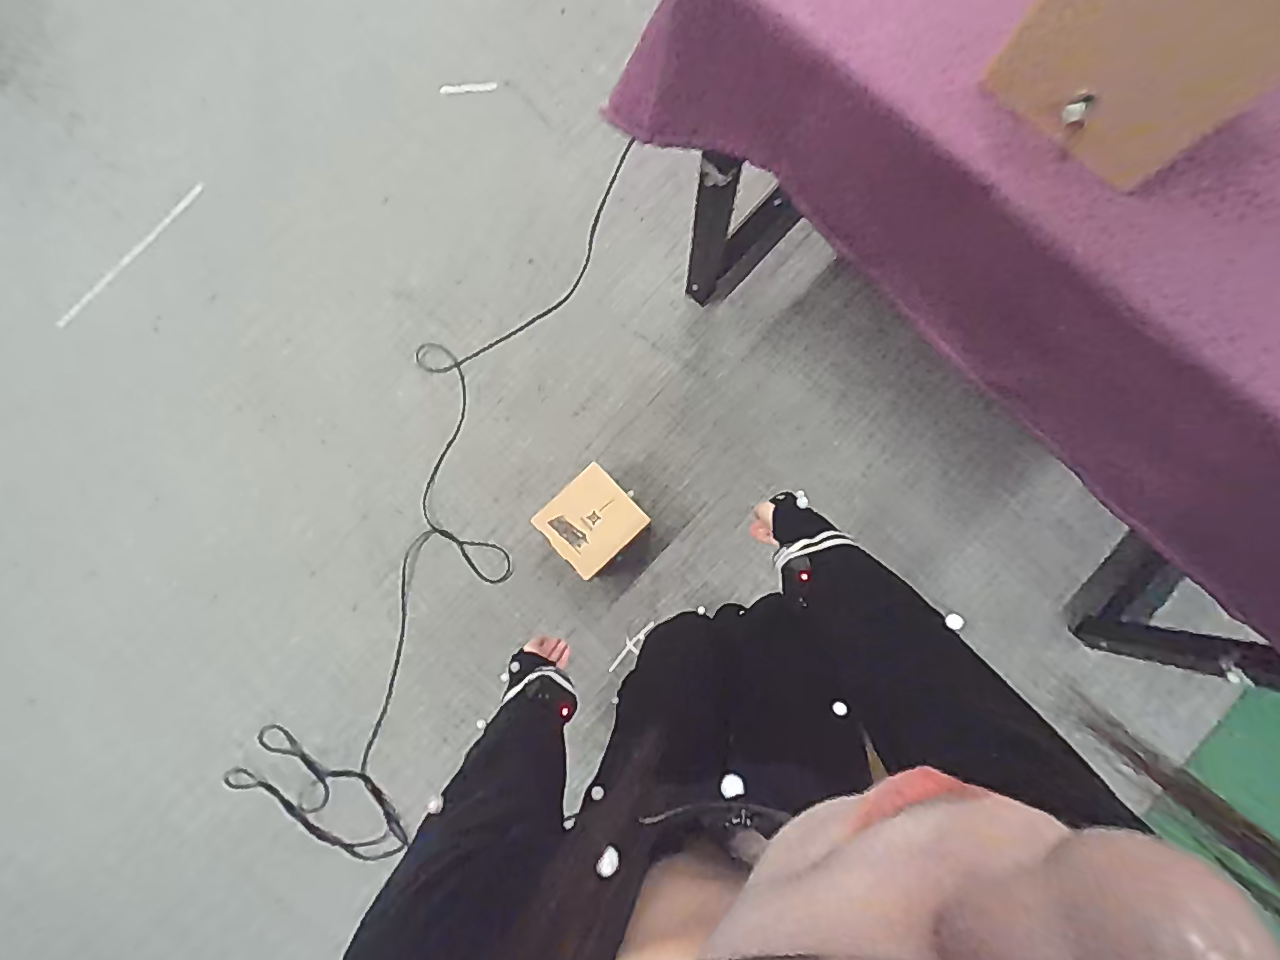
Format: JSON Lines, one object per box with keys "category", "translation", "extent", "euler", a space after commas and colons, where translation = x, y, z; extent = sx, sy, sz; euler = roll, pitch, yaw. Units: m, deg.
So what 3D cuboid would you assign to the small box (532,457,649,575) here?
{"category": "small box", "translation": [-0.095, 0.080, 1.134], "extent": [0.179, 0.176, 0.168], "euler": [-44, 85, -4]}
